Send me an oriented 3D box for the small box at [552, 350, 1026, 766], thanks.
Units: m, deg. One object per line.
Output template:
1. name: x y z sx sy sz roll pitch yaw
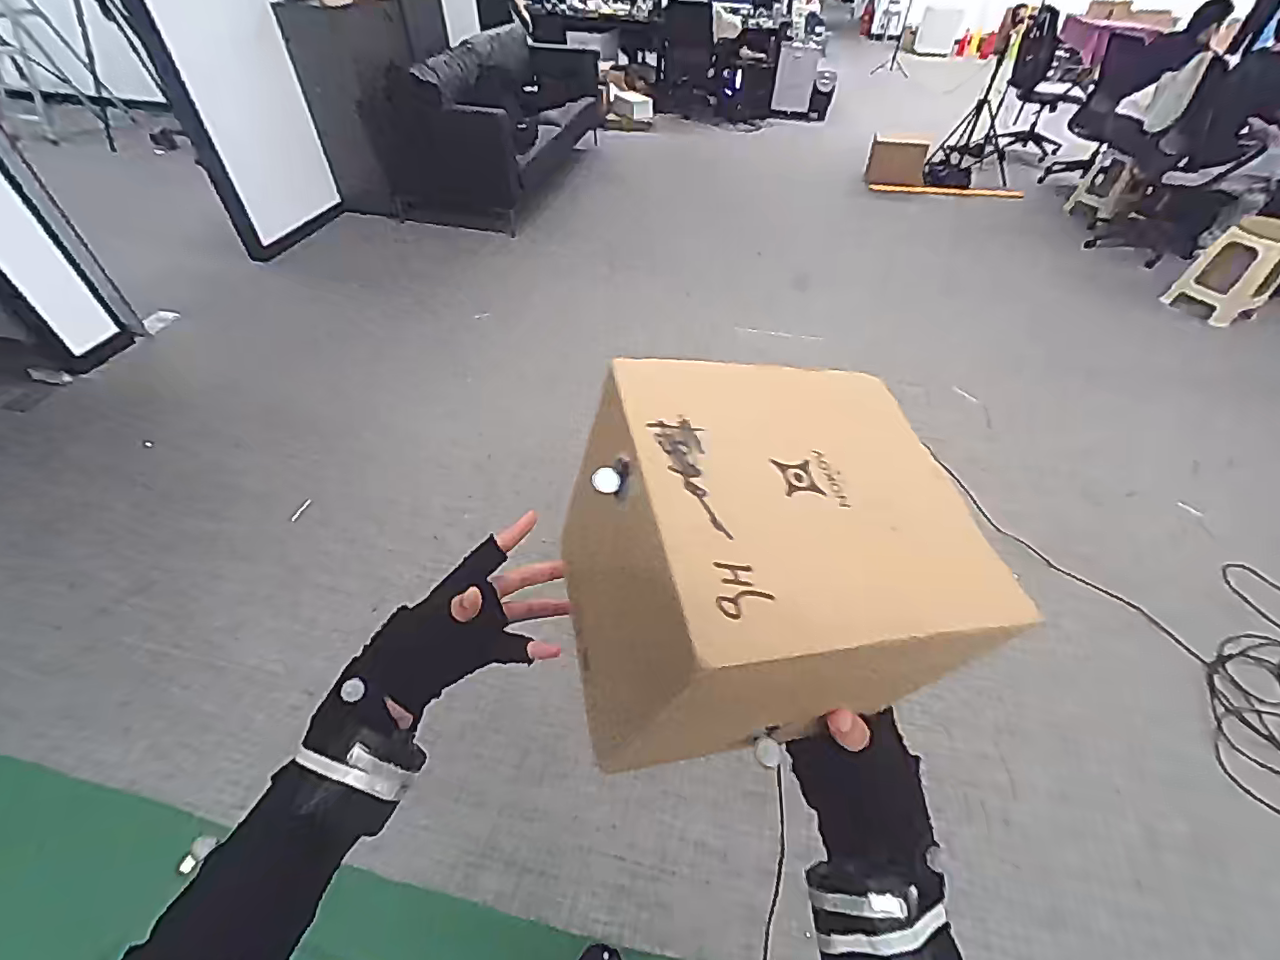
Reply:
1. small box: 0.056 0.049 0.319 0.179 0.176 0.168 0 51 -21
